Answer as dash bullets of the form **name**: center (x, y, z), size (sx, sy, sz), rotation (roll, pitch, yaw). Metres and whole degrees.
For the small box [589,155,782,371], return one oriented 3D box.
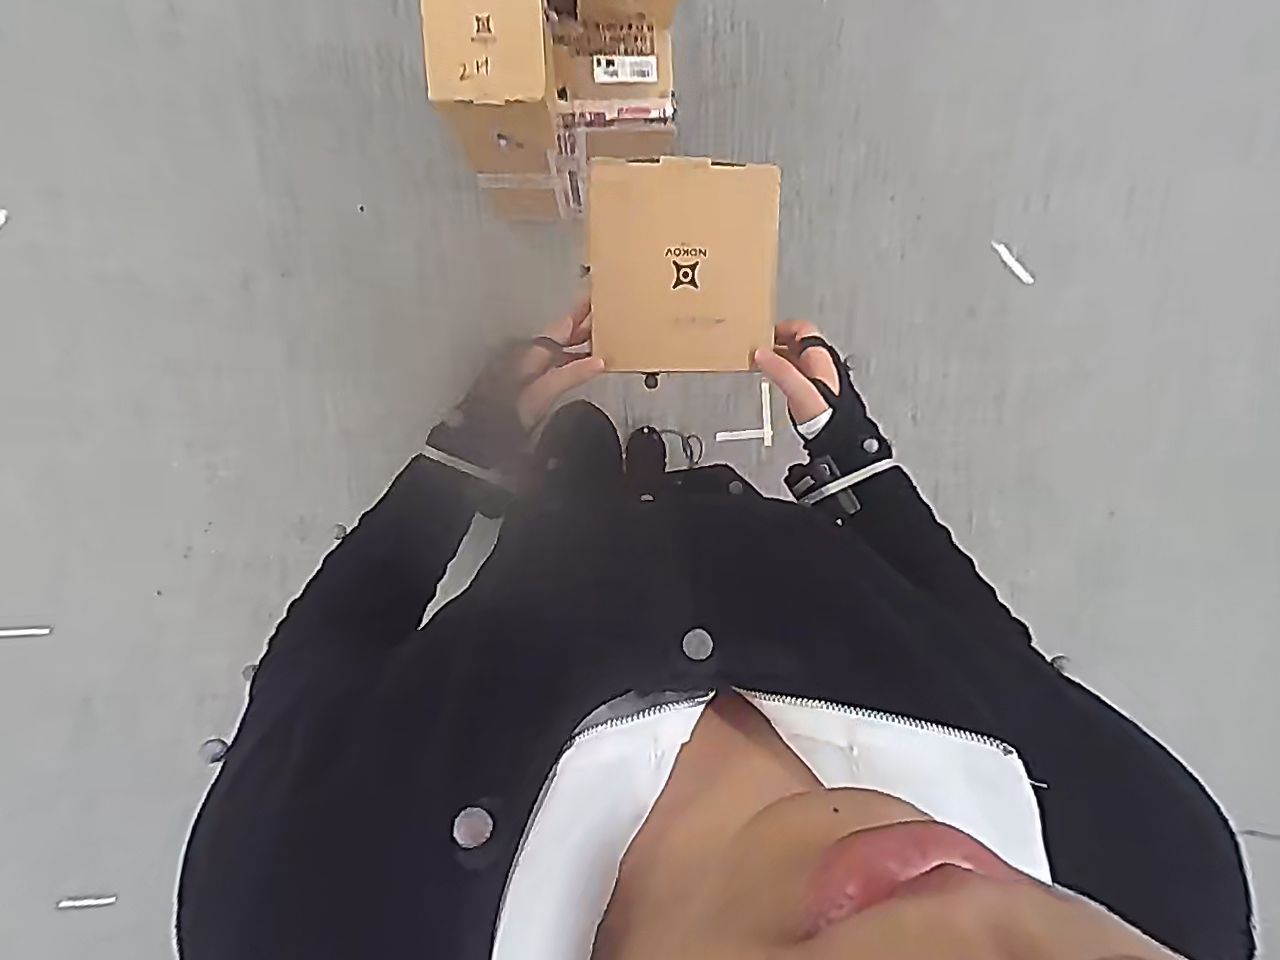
- **small box**: center (0.034, -0.202, 0.551), size (0.168, 0.176, 0.179), rotation (-2, 102, -6)
